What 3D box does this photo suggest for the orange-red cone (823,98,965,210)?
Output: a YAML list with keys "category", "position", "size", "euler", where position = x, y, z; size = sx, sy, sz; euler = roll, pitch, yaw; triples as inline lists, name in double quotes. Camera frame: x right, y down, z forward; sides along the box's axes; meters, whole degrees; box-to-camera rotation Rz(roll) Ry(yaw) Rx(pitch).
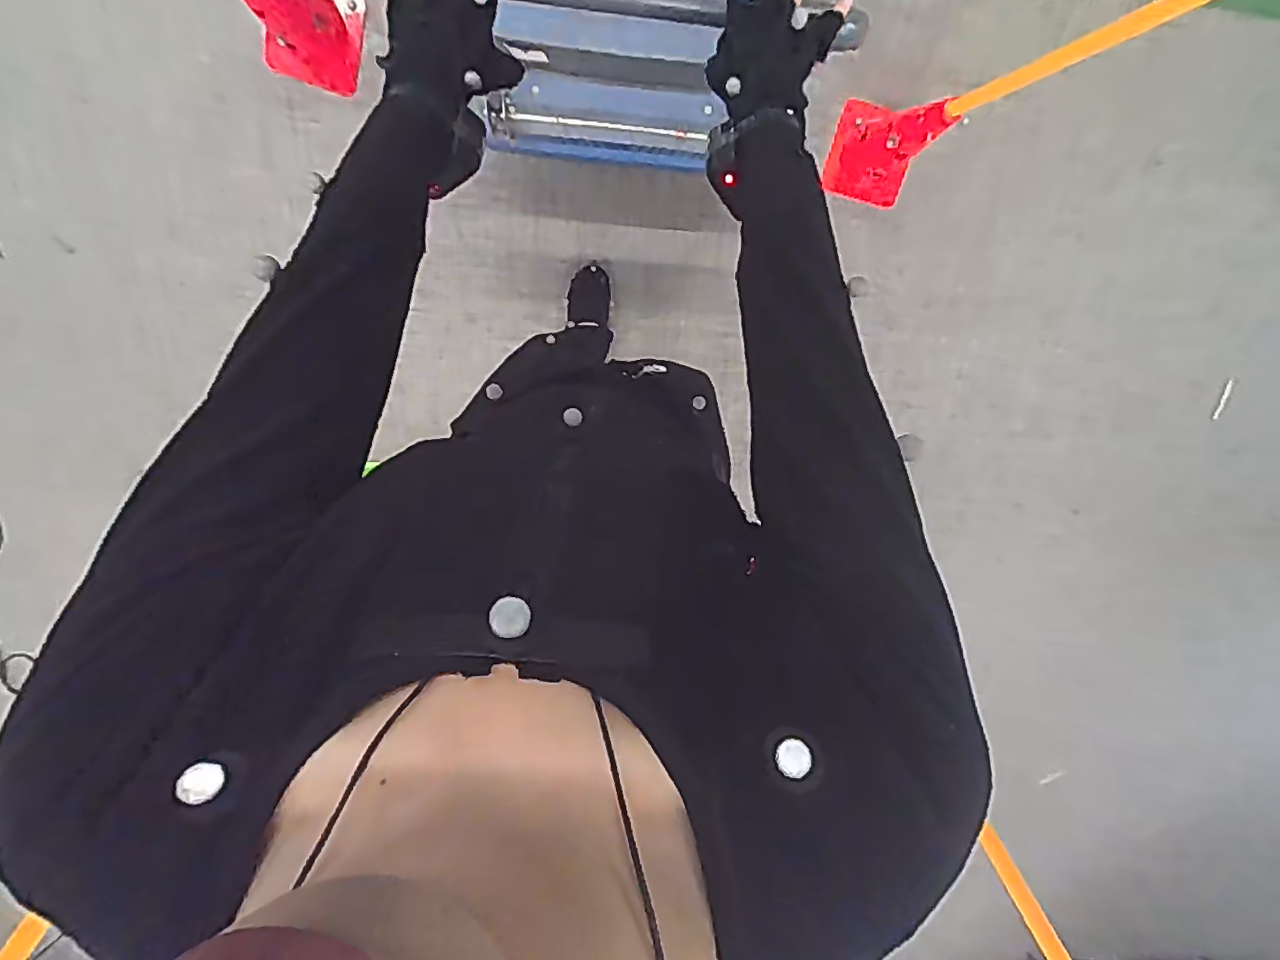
- category: "orange-red cone"
  position: [0.563, -0.720, 1.137]
  size: [0.198, 0.360, 0.199]
  euler: [14, 108, -6]
